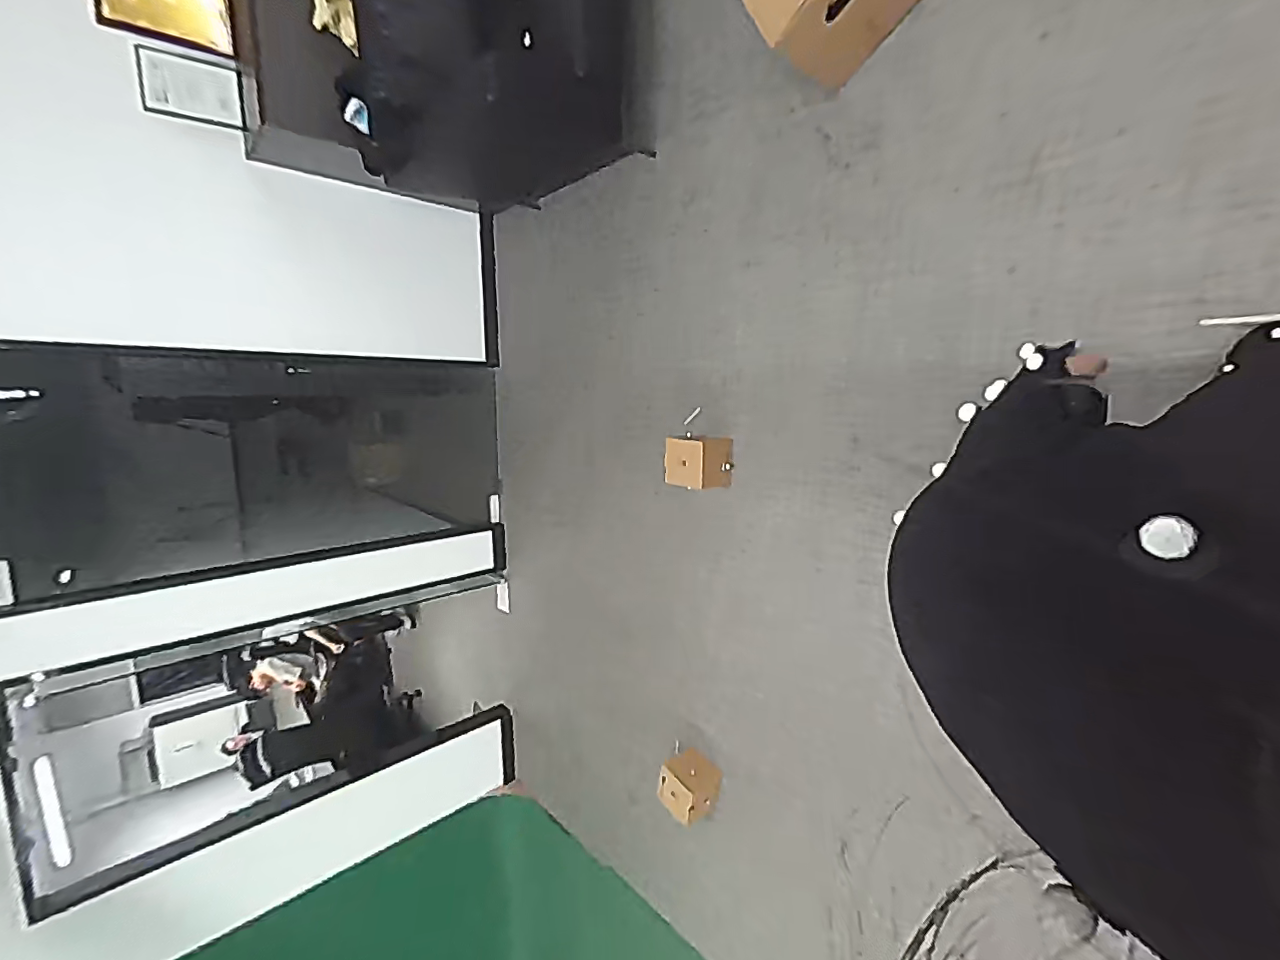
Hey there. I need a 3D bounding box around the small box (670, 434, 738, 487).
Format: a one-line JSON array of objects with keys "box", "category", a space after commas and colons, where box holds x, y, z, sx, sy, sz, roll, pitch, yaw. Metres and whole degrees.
[{"box": [0.226, -0.074, 1.930, 0.179, 0.176, 0.168, 10, 104, 46], "category": "small box"}]

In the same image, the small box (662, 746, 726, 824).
[{"box": [0.217, 1.194, 2.132, 0.179, 0.176, 0.168, 26, 115, 43], "category": "small box"}]
